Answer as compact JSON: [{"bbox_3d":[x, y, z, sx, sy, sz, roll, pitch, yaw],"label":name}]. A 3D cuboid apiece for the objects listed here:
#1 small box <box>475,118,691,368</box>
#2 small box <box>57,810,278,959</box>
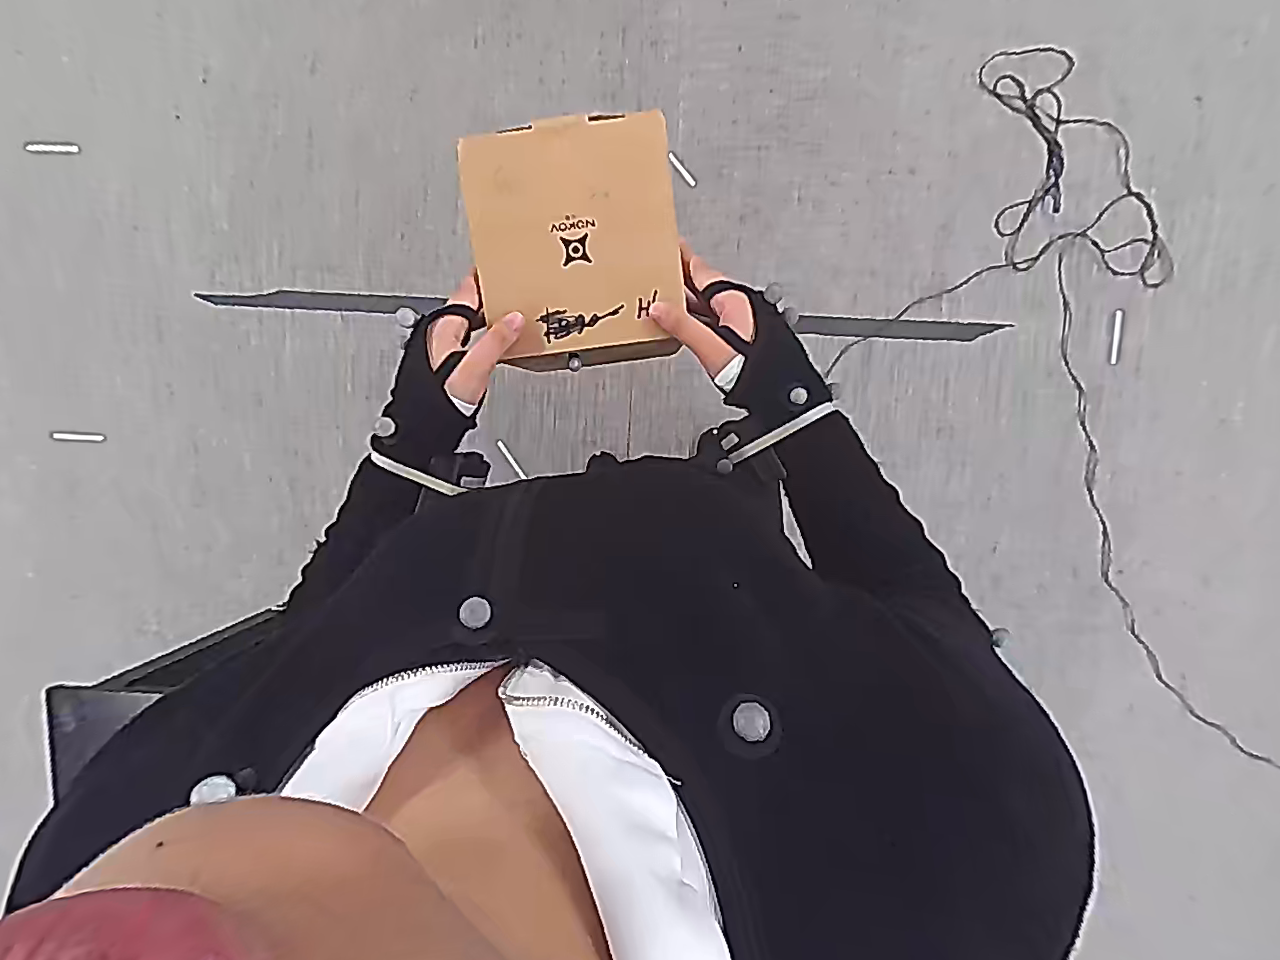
[{"bbox_3d":[-0.045,-0.208,0.523,0.168,0.176,0.179,-6,99,1],"label":"small box"},{"bbox_3d":[-0.650,0.602,0.765,0.179,0.176,0.168,4,95,3],"label":"small box"}]
